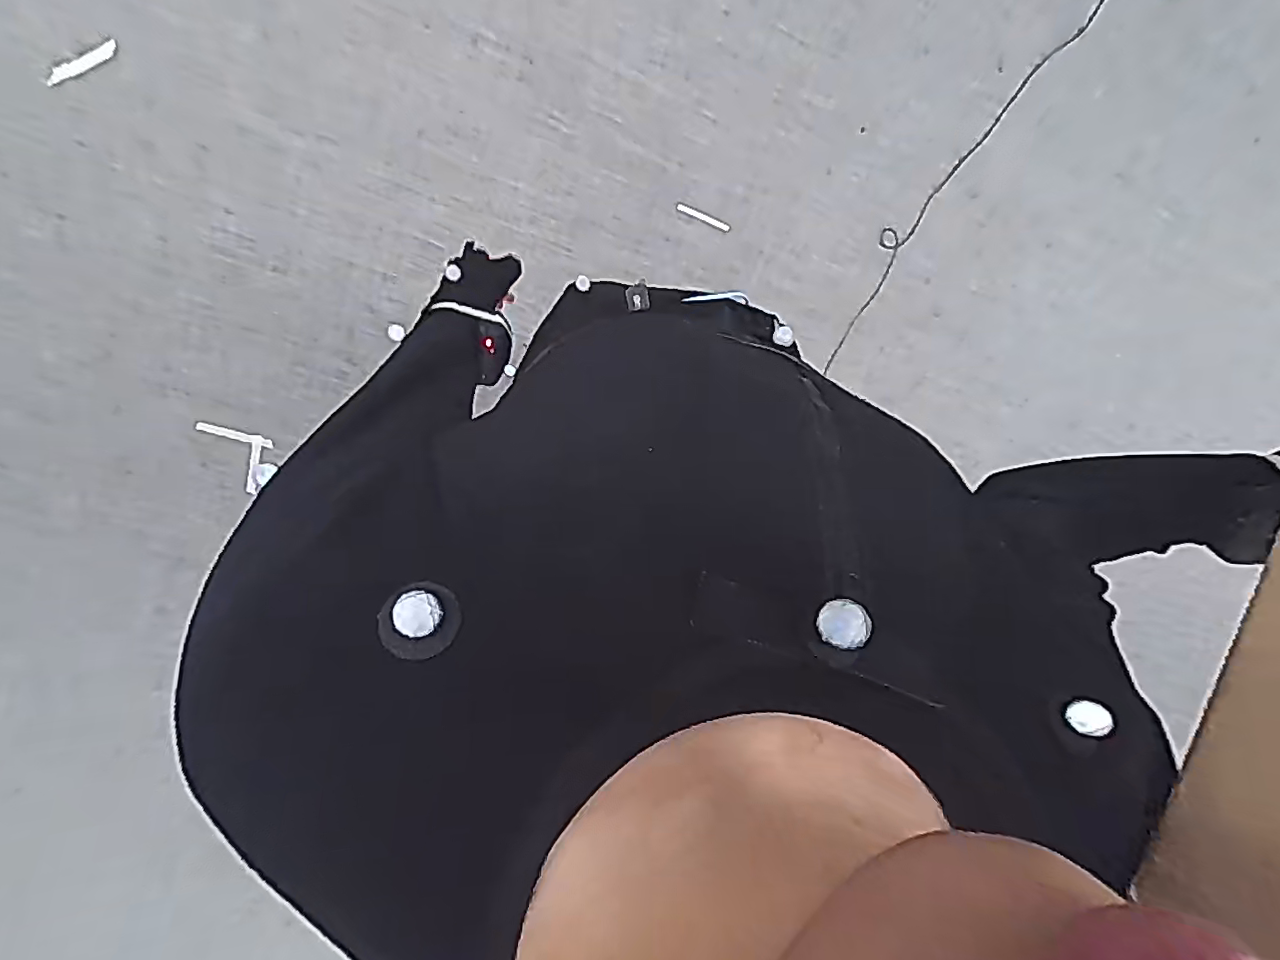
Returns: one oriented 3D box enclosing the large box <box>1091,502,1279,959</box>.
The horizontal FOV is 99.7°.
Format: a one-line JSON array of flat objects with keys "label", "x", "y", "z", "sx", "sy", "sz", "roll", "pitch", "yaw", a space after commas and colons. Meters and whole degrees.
[{"label": "large box", "x": 0.448, "y": 0.153, "z": 0.162, "sx": 0.408, "sy": 0.320, "sz": 0.320, "roll": -35, "pitch": 102, "yaw": -23}]
